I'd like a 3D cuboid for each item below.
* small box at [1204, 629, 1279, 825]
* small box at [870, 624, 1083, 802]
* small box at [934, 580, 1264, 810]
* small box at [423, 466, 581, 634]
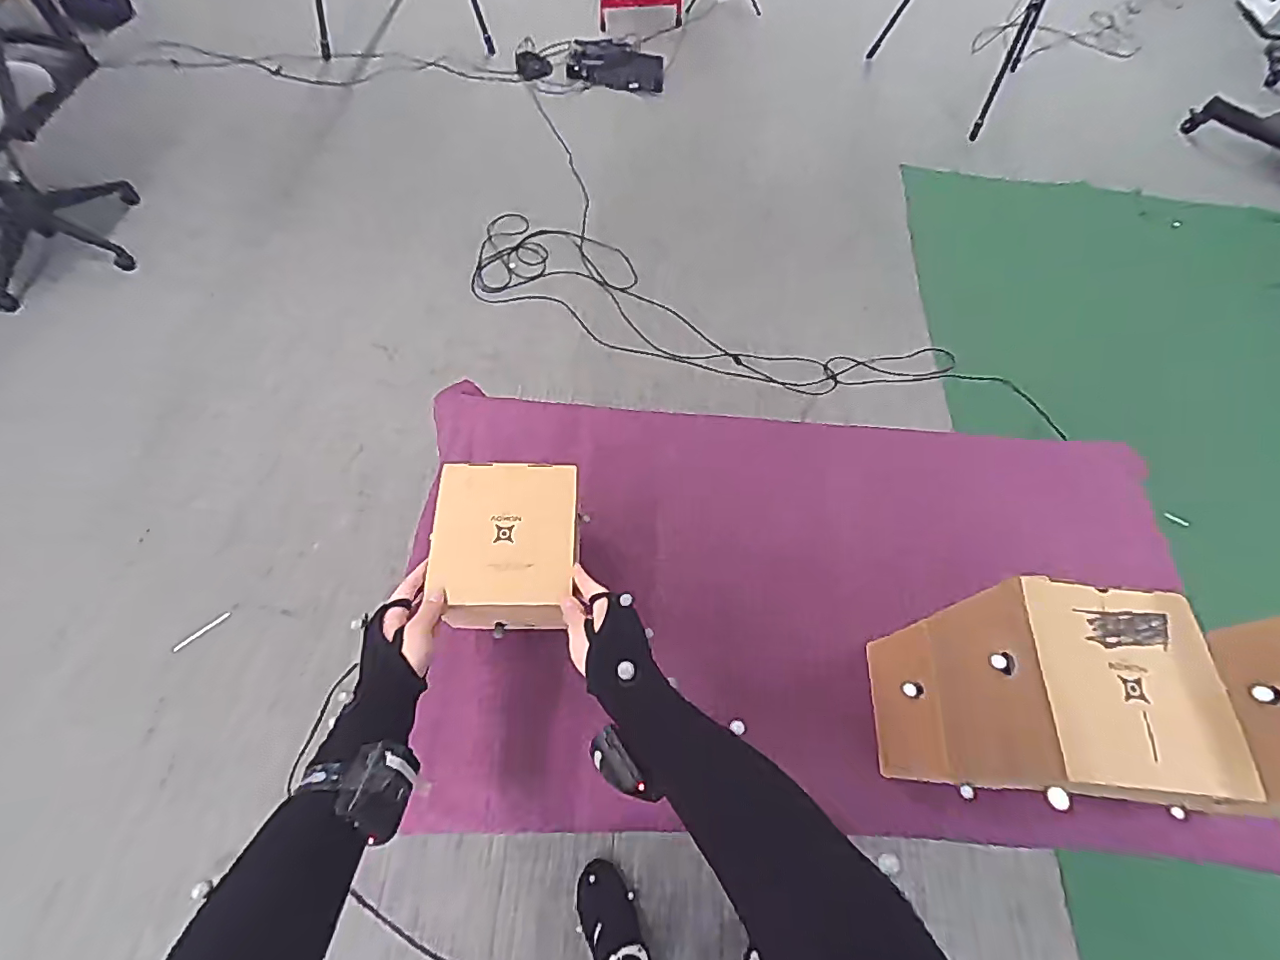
[{"bbox_3d":[0.705,0.252,0.542,0.168,0.176,0.179,8,61,2],"label":"small box"},{"bbox_3d":[0.413,0.298,0.687,0.168,0.176,0.179,6,60,-1],"label":"small box"},{"bbox_3d":[0.425,0.218,0.544,0.168,0.176,0.179,7,62,0],"label":"small box"},{"bbox_3d":[-0.164,0.097,0.705,0.168,0.176,0.179,1,65,-3],"label":"small box"}]
